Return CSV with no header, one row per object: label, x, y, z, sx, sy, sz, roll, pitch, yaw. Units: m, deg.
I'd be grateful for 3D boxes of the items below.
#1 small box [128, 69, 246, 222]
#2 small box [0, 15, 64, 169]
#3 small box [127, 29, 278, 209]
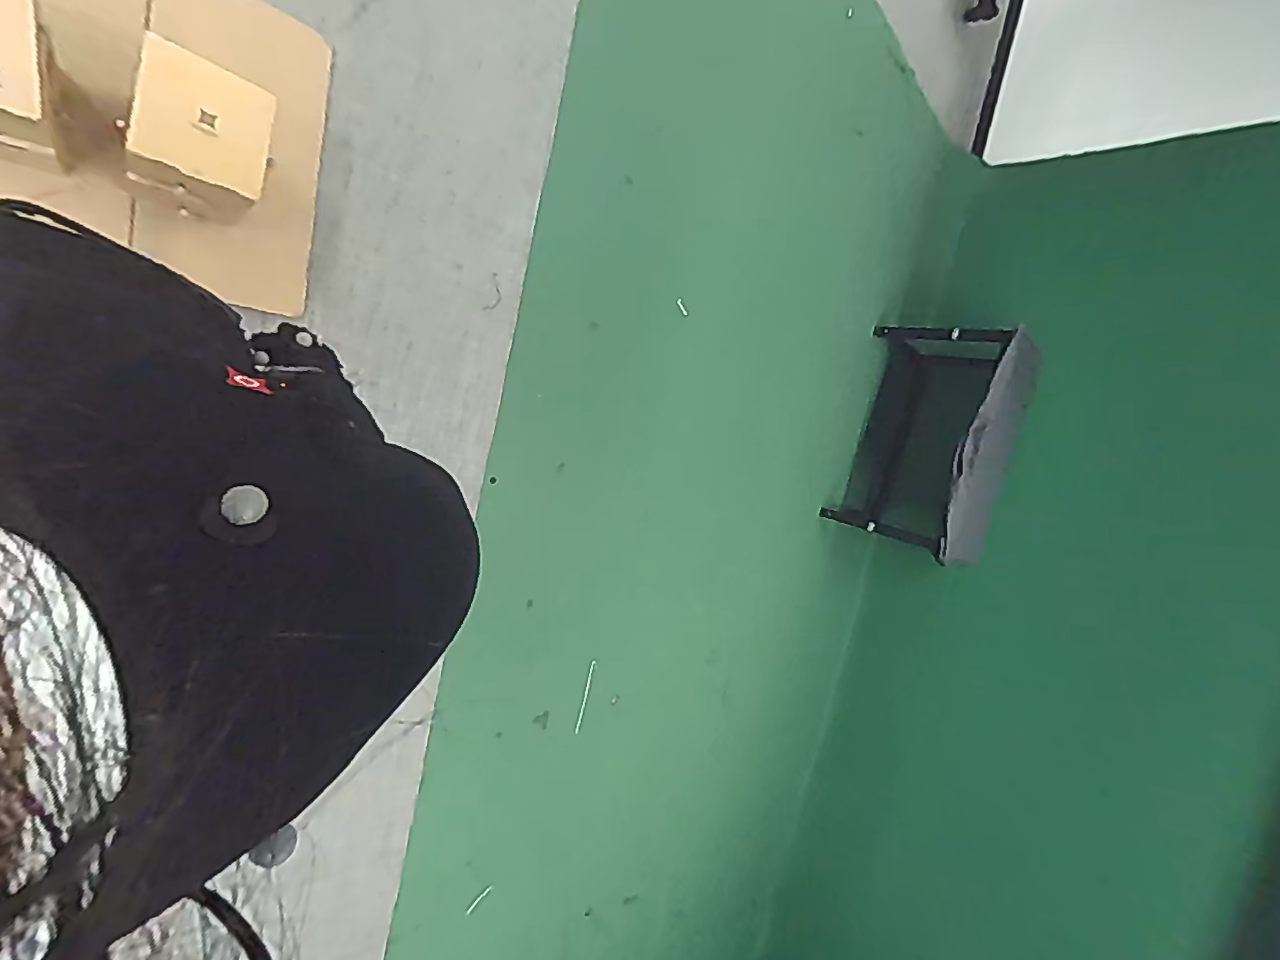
small box,-0.840,-0.608,1.012,0.168,0.176,0.179,5,100,-43
small box,-1.019,-0.610,0.835,0.168,0.176,0.179,-1,103,-43
small box,-0.729,-0.579,0.897,0.168,0.176,0.179,9,97,-44
